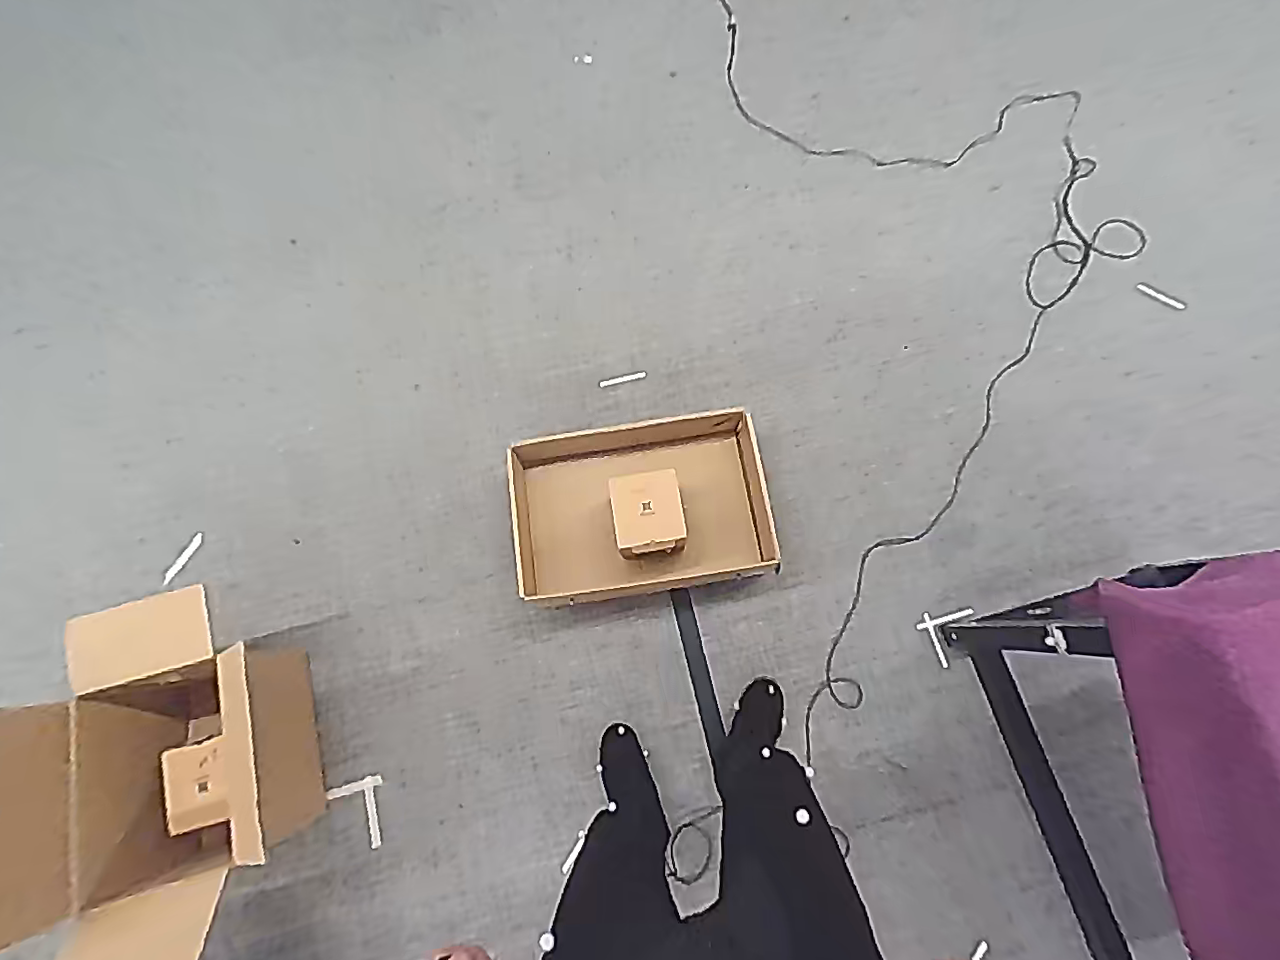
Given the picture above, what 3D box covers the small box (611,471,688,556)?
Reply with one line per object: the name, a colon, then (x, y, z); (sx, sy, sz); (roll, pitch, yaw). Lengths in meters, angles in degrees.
small box: (0.025, 0.091, 1.351); (0.168, 0.176, 0.179); (-8, 74, -1)
